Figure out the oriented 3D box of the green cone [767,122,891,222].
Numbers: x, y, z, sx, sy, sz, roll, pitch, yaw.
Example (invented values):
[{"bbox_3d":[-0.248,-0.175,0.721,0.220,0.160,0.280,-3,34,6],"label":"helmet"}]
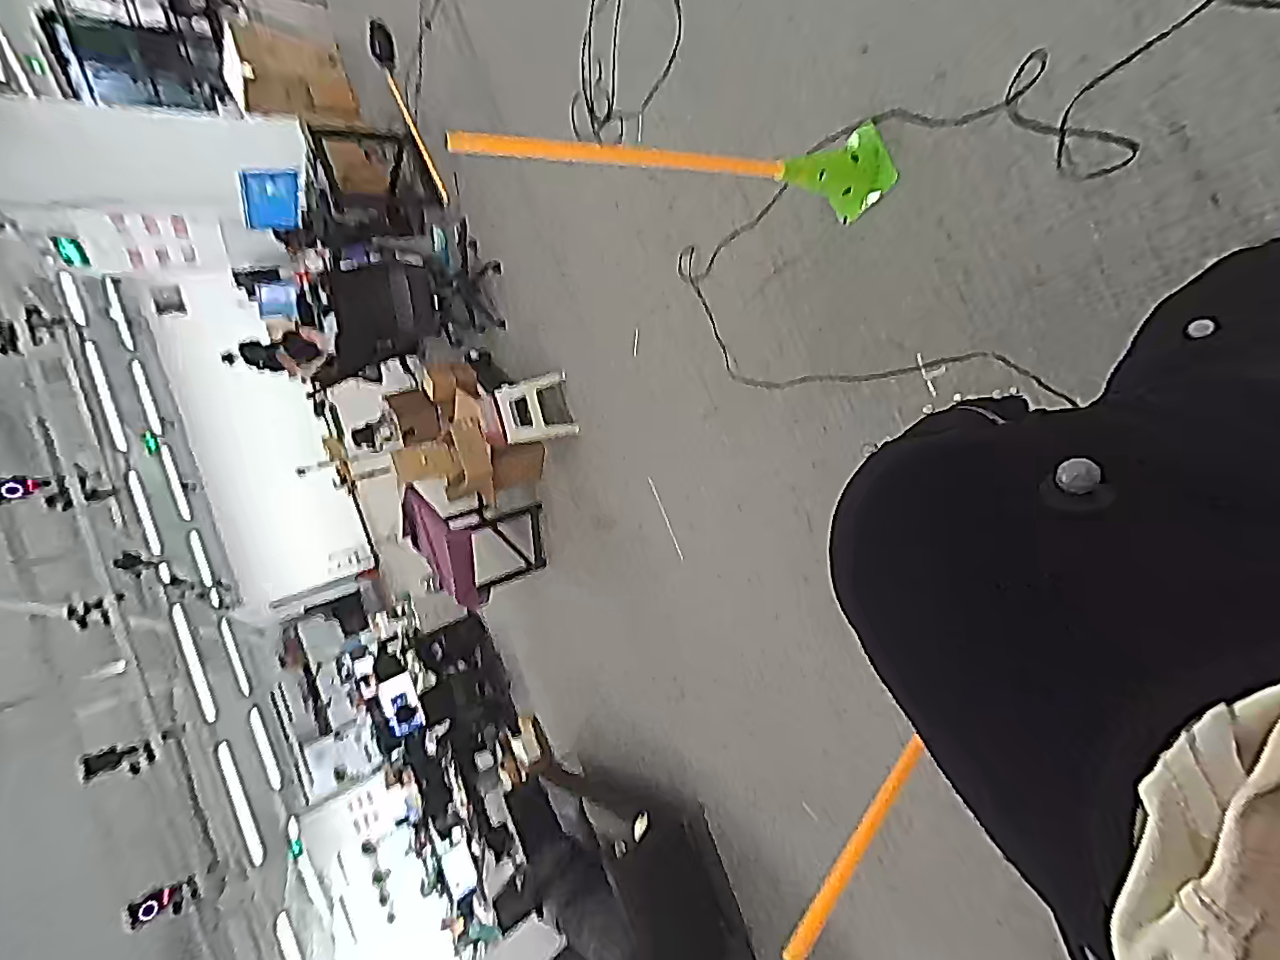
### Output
[{"bbox_3d":[0.490,-0.862,1.504,0.200,0.368,0.202,-32,78,55],"label":"green cone"}]
